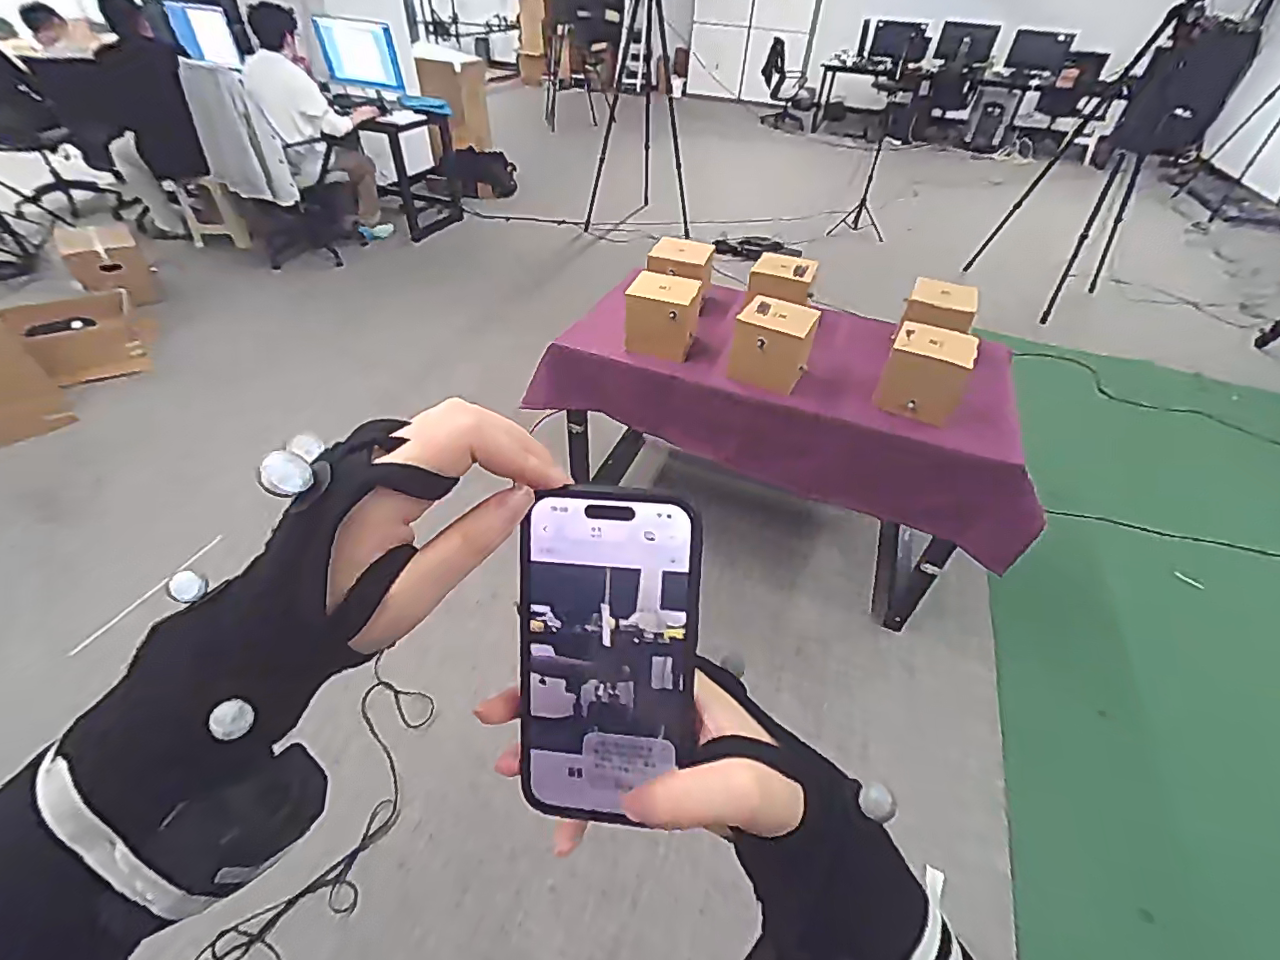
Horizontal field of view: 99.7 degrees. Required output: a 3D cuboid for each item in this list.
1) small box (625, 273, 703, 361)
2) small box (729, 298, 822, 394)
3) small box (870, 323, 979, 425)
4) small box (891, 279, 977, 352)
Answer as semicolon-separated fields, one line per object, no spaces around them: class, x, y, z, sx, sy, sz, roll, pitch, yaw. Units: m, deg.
small box;0.064;-0.451;1.499;0.179;0.176;0.168;15;44;10
small box;0.346;-0.348;1.408;0.179;0.176;0.168;23;46;18
small box;0.699;-0.258;1.337;0.179;0.176;0.168;24;46;19
small box;0.837;-0.446;1.547;0.168;0.176;0.179;20;46;18
